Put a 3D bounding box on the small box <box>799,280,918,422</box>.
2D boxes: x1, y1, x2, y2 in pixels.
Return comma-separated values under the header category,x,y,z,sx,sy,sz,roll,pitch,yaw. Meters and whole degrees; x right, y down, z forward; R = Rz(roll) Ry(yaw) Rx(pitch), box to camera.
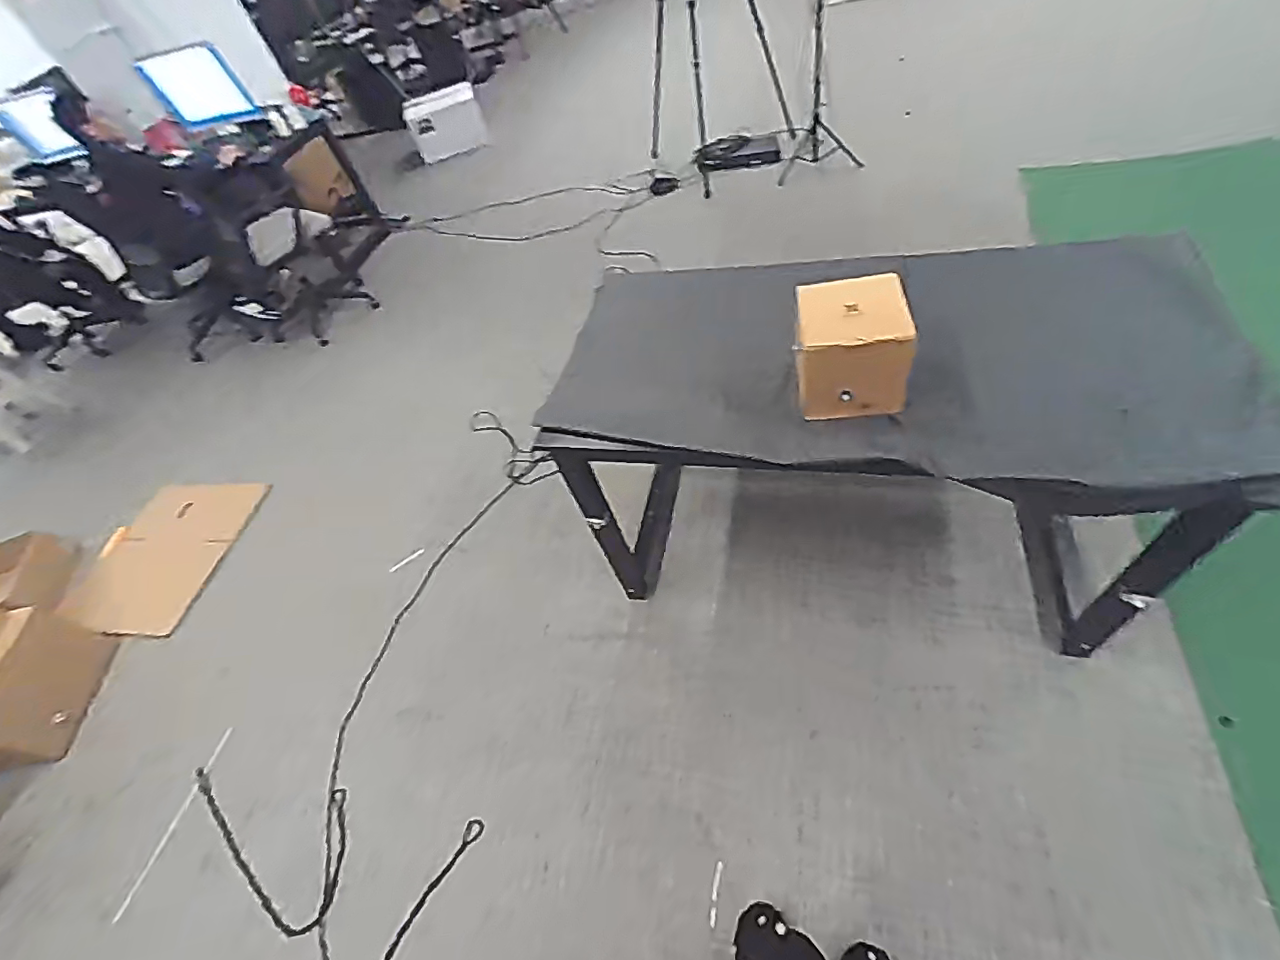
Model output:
category,x,y,z,sx,sy,sz,roll,pitch,yaw
small box,0.374,-0.225,0.959,0.168,0.176,0.179,-3,52,13
